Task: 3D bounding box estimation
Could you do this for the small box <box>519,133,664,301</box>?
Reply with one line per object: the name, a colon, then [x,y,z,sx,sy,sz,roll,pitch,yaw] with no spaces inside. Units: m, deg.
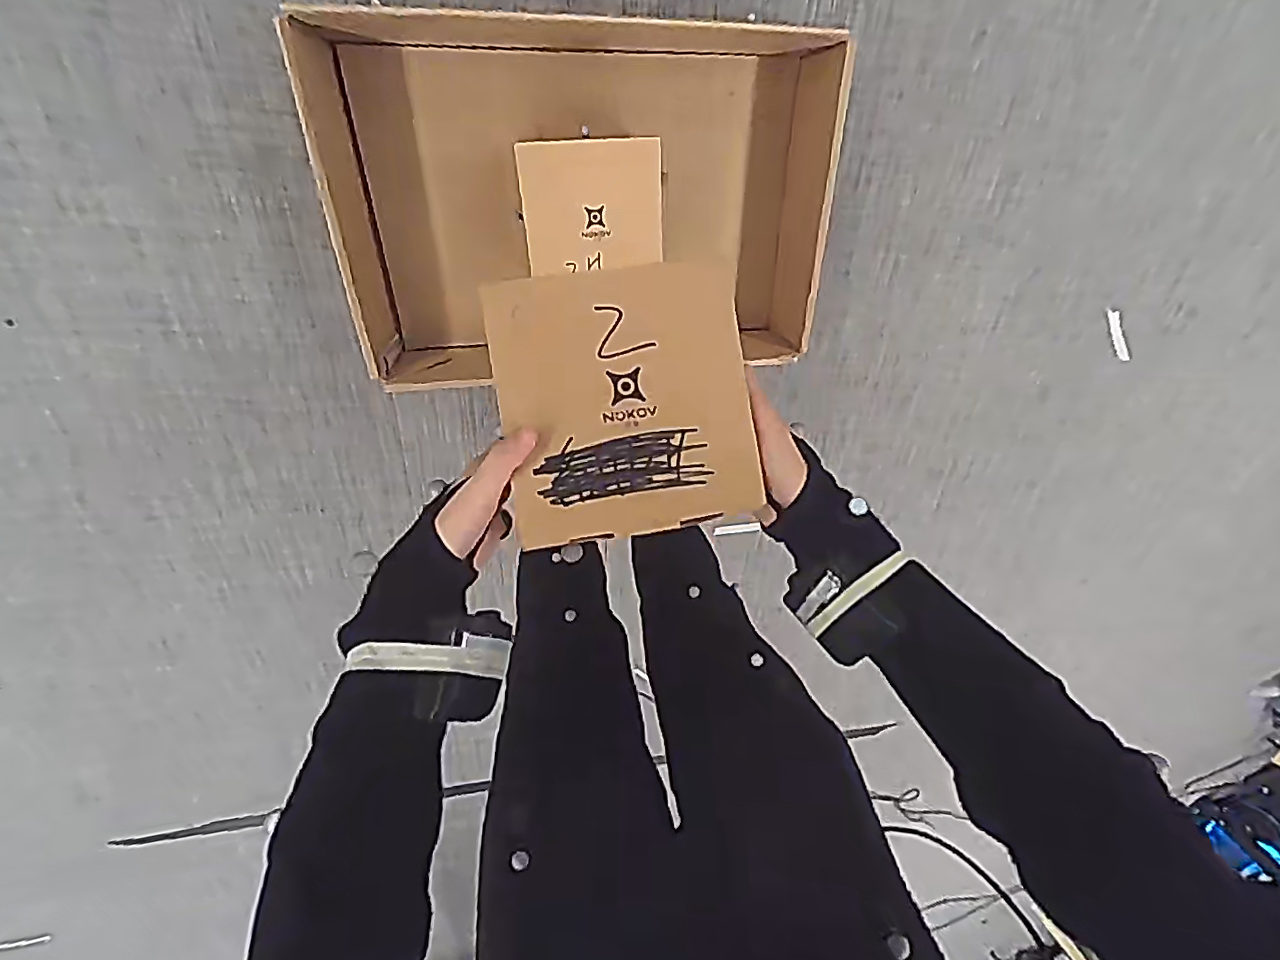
small box: [-0.066,-0.348,0.710,0.168,0.176,0.179,-7,122,-8]
